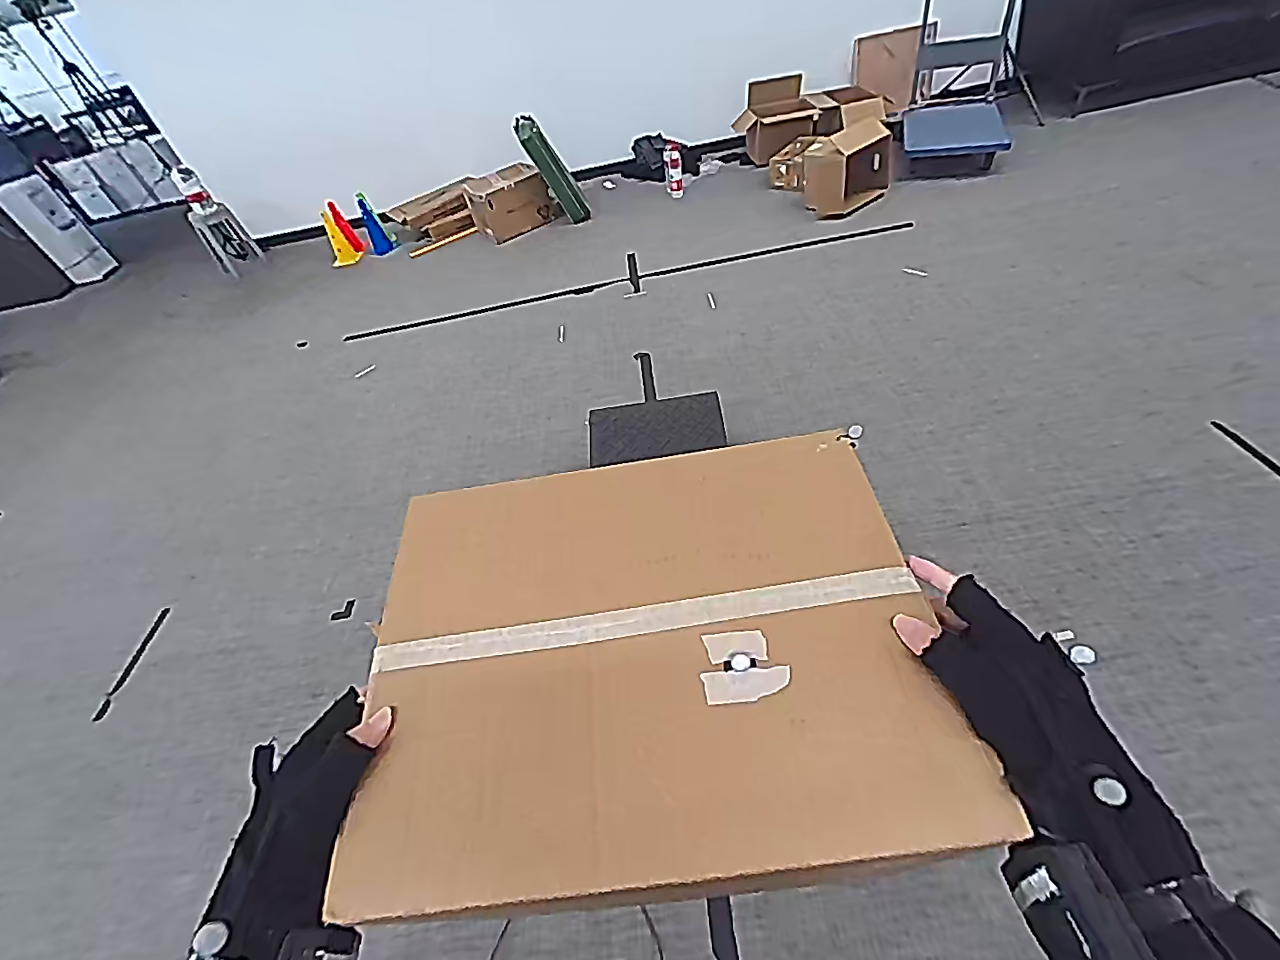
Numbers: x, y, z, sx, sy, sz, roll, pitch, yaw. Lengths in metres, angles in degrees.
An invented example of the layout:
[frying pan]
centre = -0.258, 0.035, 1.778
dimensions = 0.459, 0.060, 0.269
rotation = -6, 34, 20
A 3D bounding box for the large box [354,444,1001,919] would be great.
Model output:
[large box]
centre = 0.022, 0.207, 0.530
dimensions = 0.408, 0.320, 0.320
rotation = -9, 51, 2
